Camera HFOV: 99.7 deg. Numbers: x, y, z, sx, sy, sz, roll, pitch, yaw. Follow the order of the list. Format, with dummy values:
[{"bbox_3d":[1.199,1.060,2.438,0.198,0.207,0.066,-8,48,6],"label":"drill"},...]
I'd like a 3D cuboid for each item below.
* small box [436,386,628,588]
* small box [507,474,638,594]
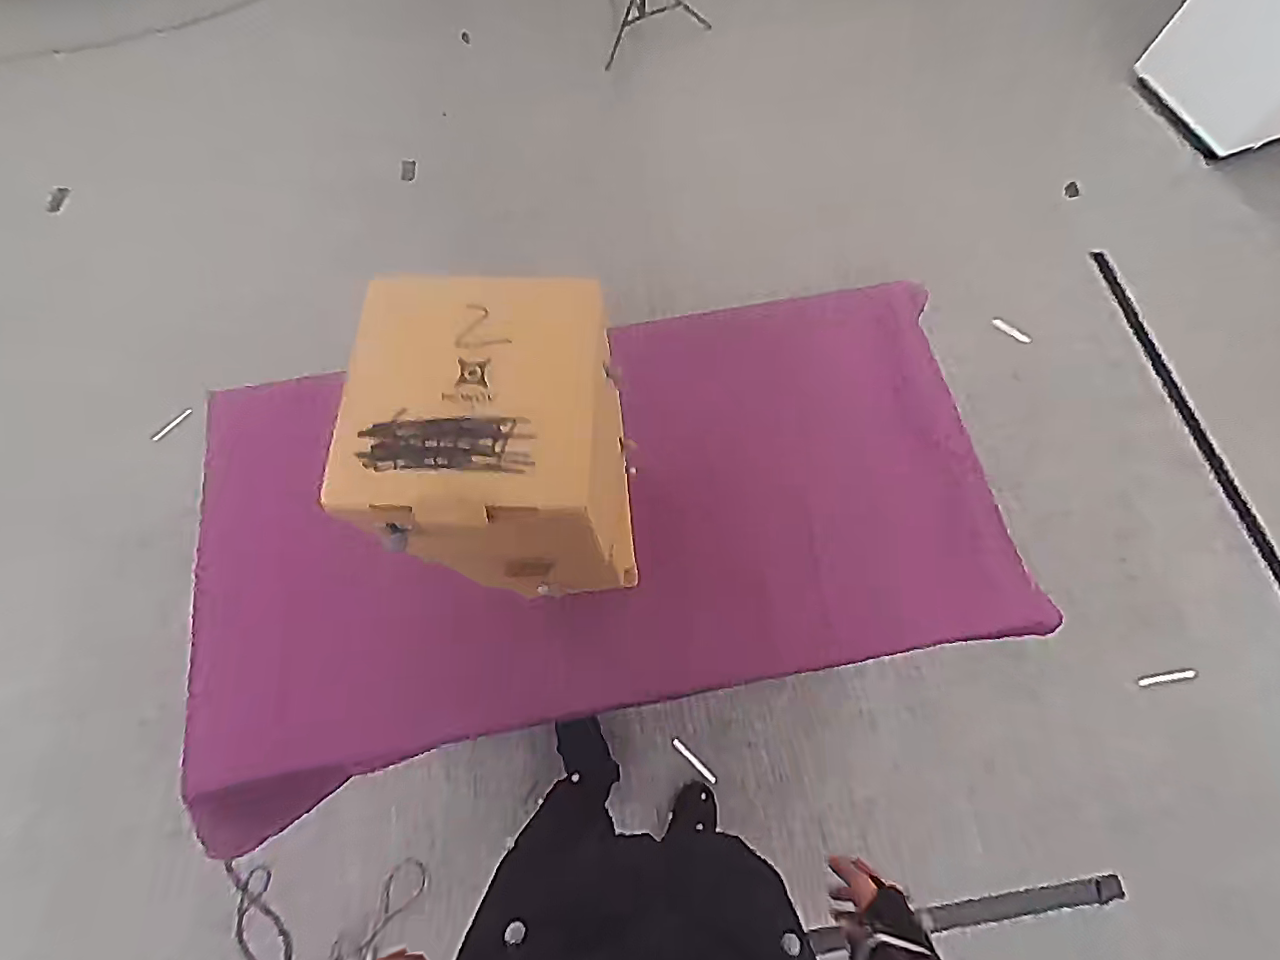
[{"bbox_3d":[-0.100,0.015,0.587,0.168,0.176,0.179,0,70,2],"label":"small box"},{"bbox_3d":[-0.093,0.059,0.747,0.168,0.176,0.179,-6,70,-1],"label":"small box"}]
